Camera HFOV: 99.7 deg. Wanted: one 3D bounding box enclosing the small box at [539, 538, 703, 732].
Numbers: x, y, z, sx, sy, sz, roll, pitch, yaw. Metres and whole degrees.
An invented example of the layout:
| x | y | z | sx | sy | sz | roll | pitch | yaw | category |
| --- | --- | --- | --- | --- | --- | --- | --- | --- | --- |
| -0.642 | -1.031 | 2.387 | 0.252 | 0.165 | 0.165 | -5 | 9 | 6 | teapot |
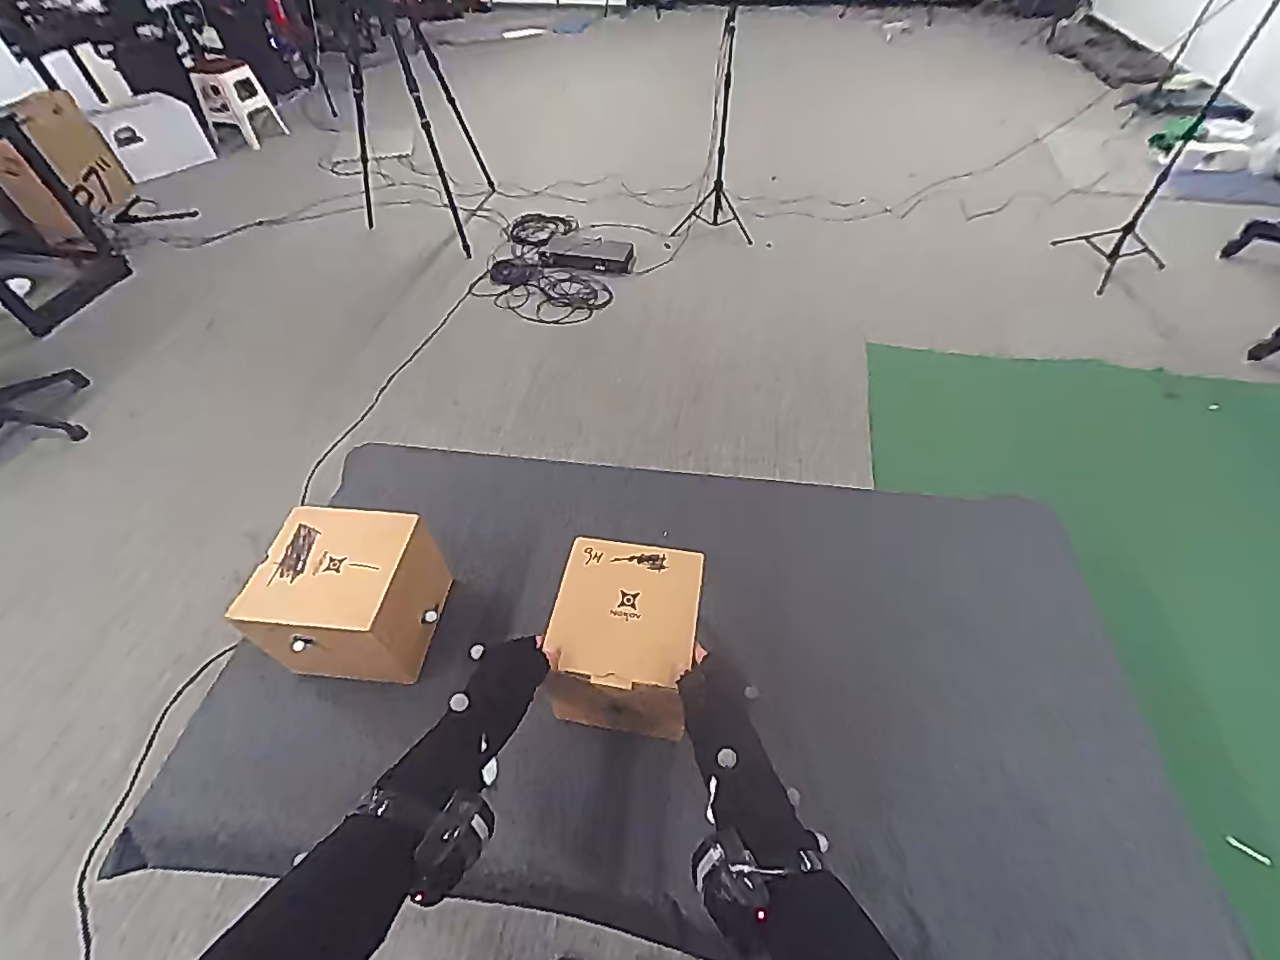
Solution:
| x | y | z | sx | sy | sz | roll | pitch | yaw | category |
| --- | --- | --- | --- | --- | --- | --- | --- | --- | --- |
| -0.013 | 0.200 | 0.687 | 0.168 | 0.176 | 0.179 | 7 | 50 | 7 | small box |

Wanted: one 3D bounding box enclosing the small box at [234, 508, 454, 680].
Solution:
| x | y | z | sx | sy | sz | roll | pitch | yaw | category |
| --- | --- | --- | --- | --- | --- | --- | --- | --- | --- |
| -0.378 | 0.156 | 0.731 | 0.179 | 0.176 | 0.168 | 4 | 50 | 3 | small box |
